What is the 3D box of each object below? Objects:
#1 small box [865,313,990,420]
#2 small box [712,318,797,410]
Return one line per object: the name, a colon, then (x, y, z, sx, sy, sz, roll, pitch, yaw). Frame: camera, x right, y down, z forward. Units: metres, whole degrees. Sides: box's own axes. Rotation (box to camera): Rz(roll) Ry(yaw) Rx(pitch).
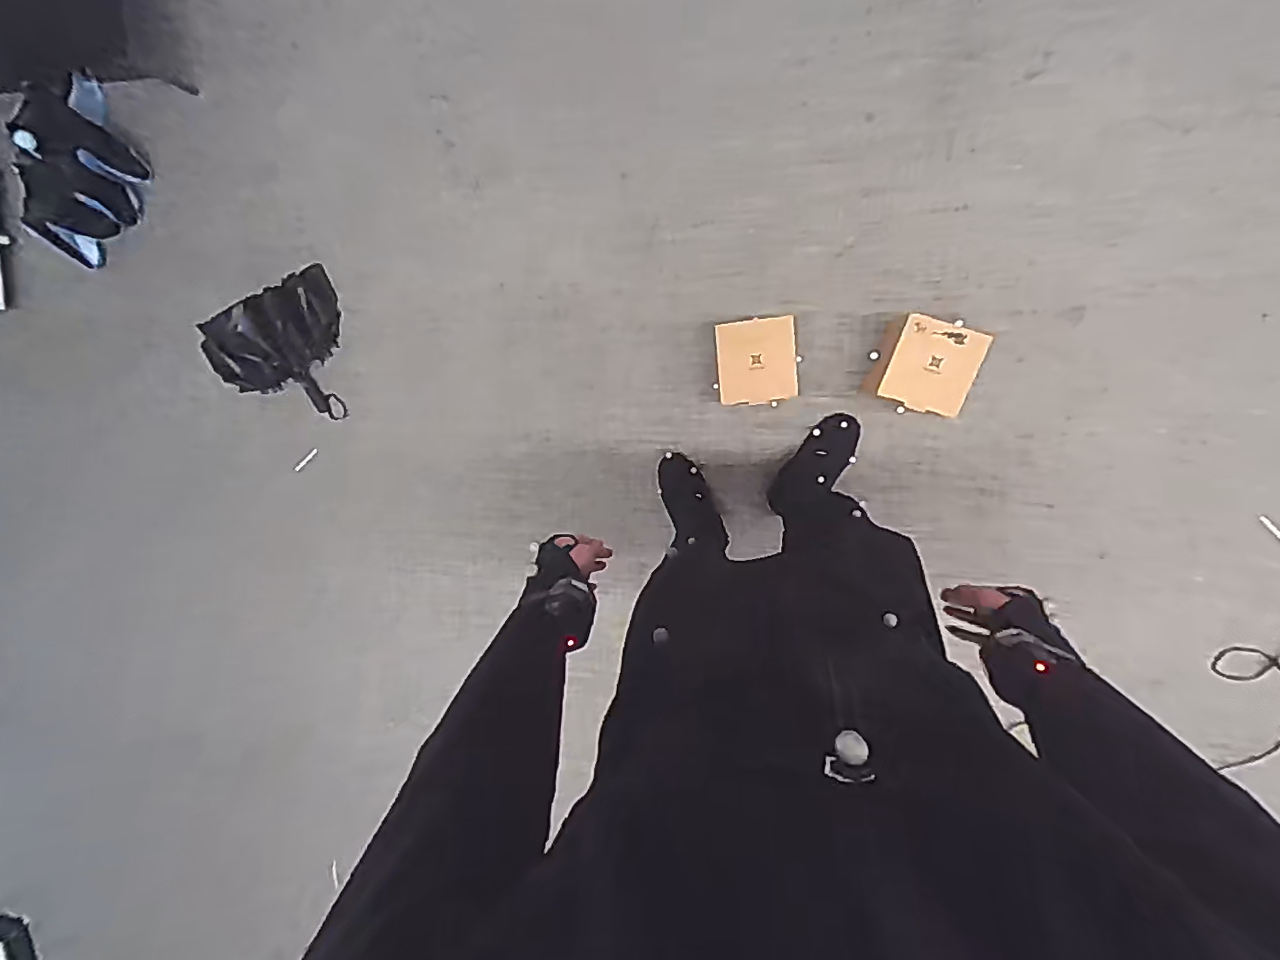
small box: (0.601, -0.241, 1.160, 0.168, 0.176, 0.179, 19, 103, 7)
small box: (0.257, -0.258, 1.223, 0.168, 0.176, 0.179, -6, 98, 10)
